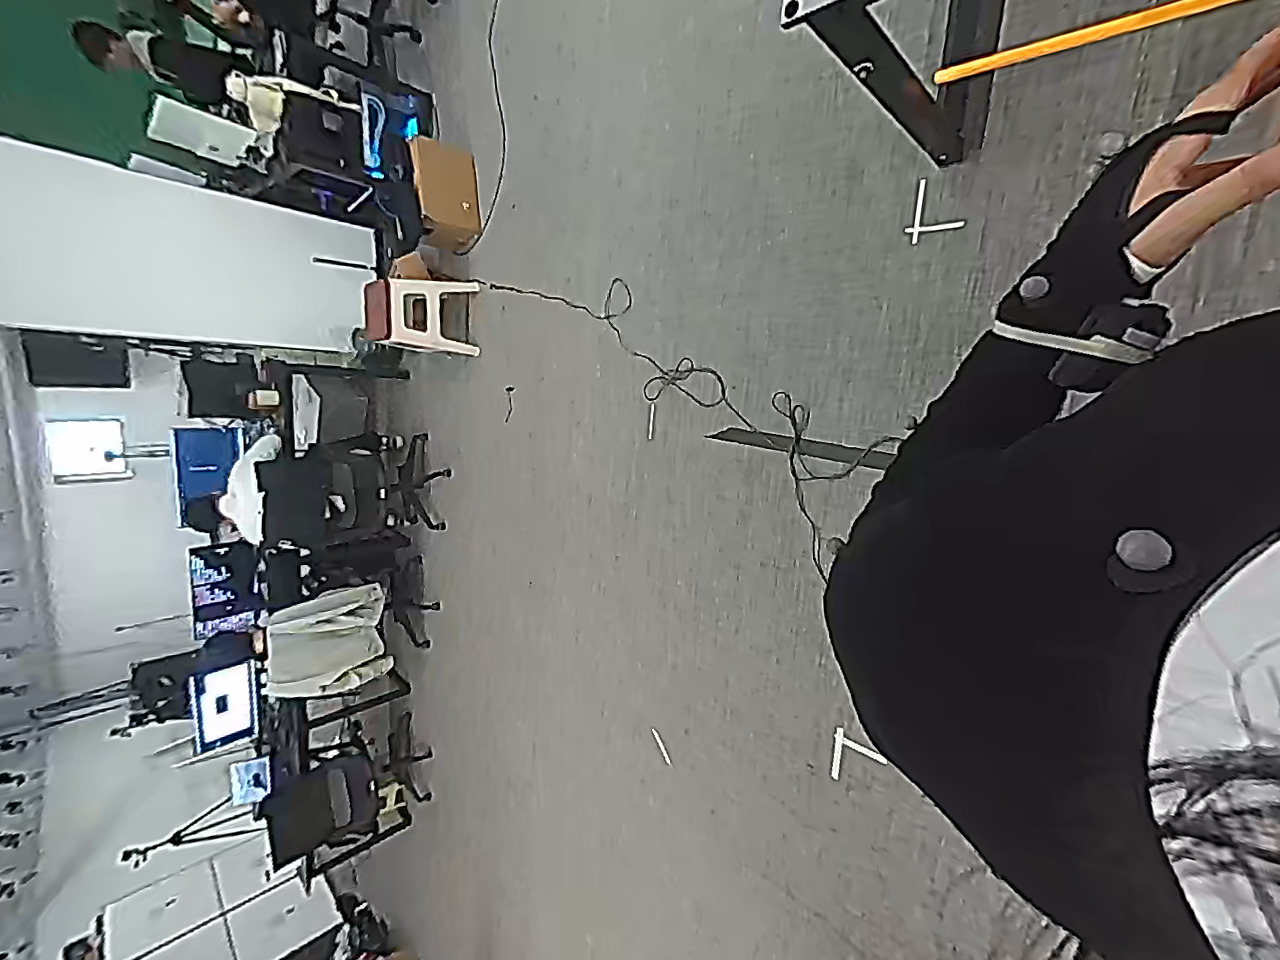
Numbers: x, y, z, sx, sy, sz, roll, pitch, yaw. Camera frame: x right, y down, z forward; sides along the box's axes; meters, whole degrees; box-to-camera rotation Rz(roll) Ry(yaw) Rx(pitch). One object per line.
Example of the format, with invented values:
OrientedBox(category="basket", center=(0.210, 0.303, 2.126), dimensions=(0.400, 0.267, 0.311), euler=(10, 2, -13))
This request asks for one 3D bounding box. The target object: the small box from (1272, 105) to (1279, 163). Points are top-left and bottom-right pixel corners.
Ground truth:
OrientedBox(category="small box", center=(0.435, -0.261, 0.244), dimensions=(0.168, 0.176, 0.179), euler=(12, 111, 42))
